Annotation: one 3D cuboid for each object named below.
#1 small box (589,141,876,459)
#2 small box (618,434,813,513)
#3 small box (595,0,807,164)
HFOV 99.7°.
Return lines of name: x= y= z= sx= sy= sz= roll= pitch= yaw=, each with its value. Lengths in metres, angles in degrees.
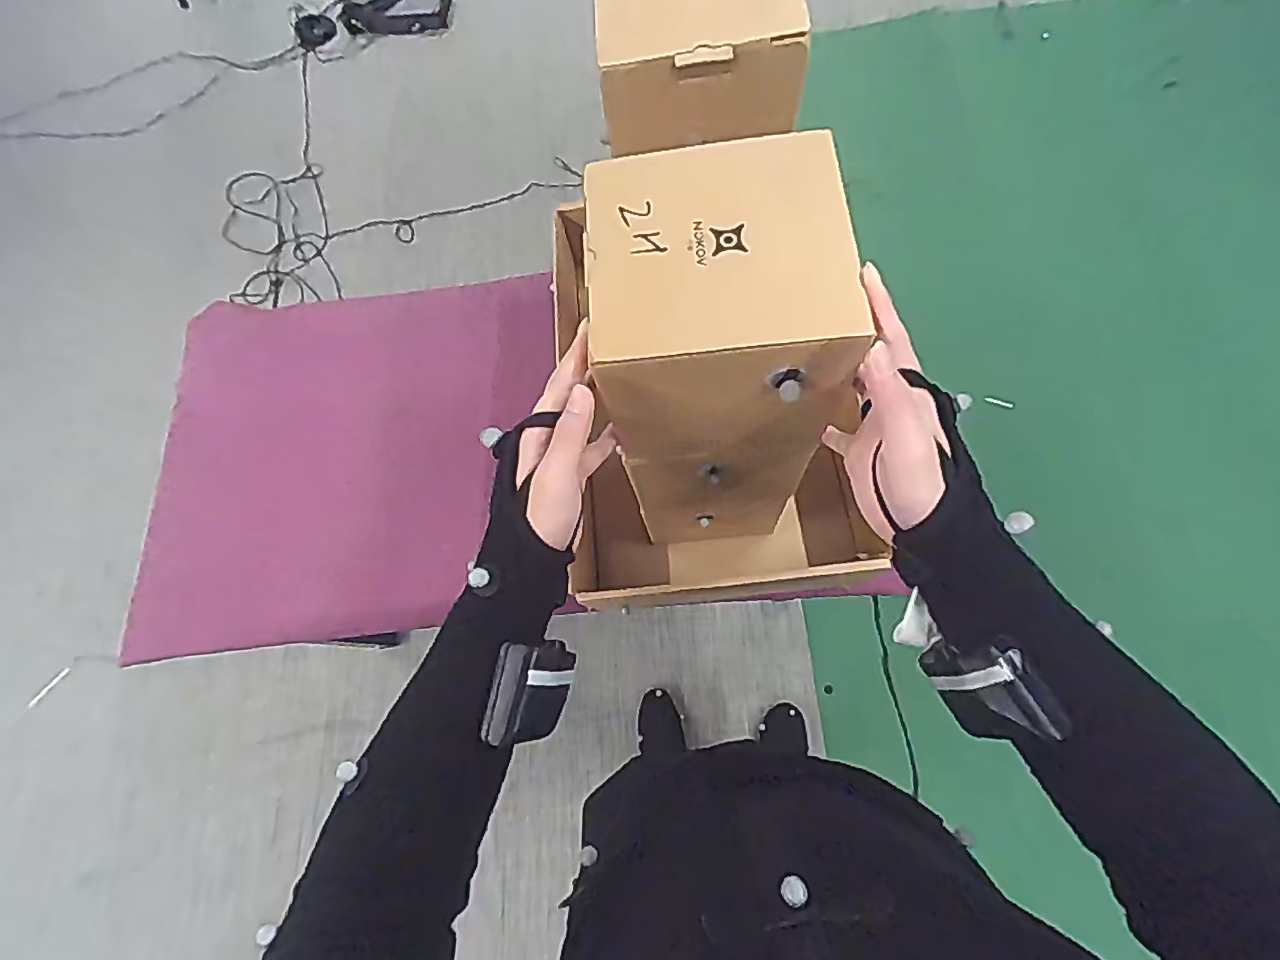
small box: x=0.060 y=-0.125 z=0.428 sx=0.179 sy=0.176 sz=0.168 roll=-5 pitch=70 yaw=5
small box: x=0.074 y=-0.066 z=0.582 sx=0.179 sy=0.176 sz=0.168 roll=-4 pitch=71 yaw=5
small box: x=0.052 y=-0.374 z=0.518 sx=0.168 sy=0.176 sz=0.179 roll=-5 pitch=72 yaw=3
